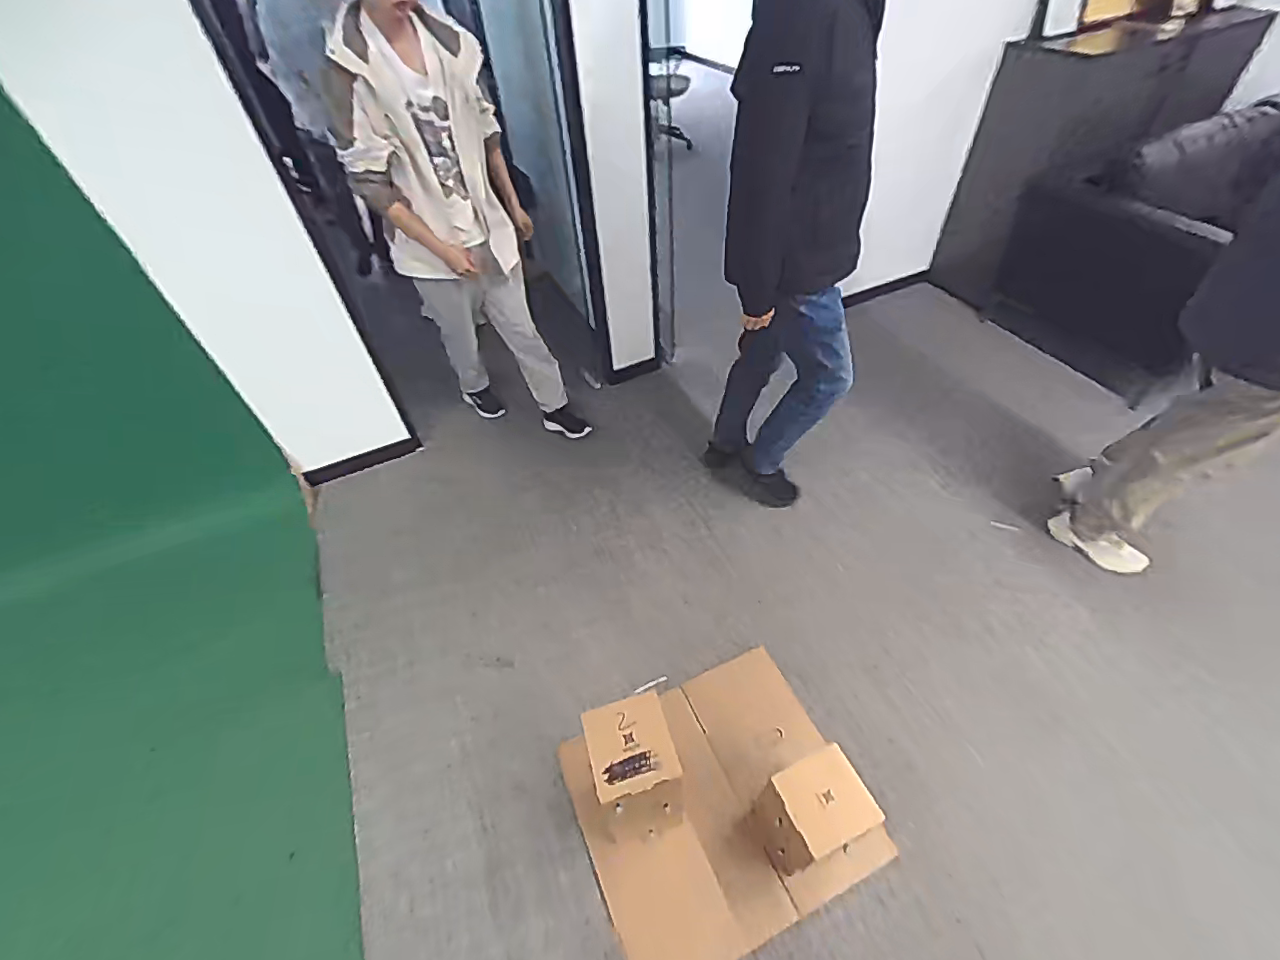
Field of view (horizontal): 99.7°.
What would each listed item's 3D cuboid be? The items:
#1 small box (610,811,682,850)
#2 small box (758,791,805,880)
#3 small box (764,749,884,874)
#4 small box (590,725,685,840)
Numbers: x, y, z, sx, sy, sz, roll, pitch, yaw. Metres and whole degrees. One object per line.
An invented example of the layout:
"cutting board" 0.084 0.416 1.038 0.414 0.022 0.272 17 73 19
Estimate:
"small box" -0.002 0.804 1.363 0.179 0.176 0.168 -14 47 -9
"small box" 0.398 0.832 1.308 0.179 0.176 0.168 -20 49 -13
"small box" 0.392 0.728 1.185 0.179 0.176 0.168 -22 50 -13
"small box" -0.006 0.694 1.238 0.179 0.176 0.168 -15 47 -9
